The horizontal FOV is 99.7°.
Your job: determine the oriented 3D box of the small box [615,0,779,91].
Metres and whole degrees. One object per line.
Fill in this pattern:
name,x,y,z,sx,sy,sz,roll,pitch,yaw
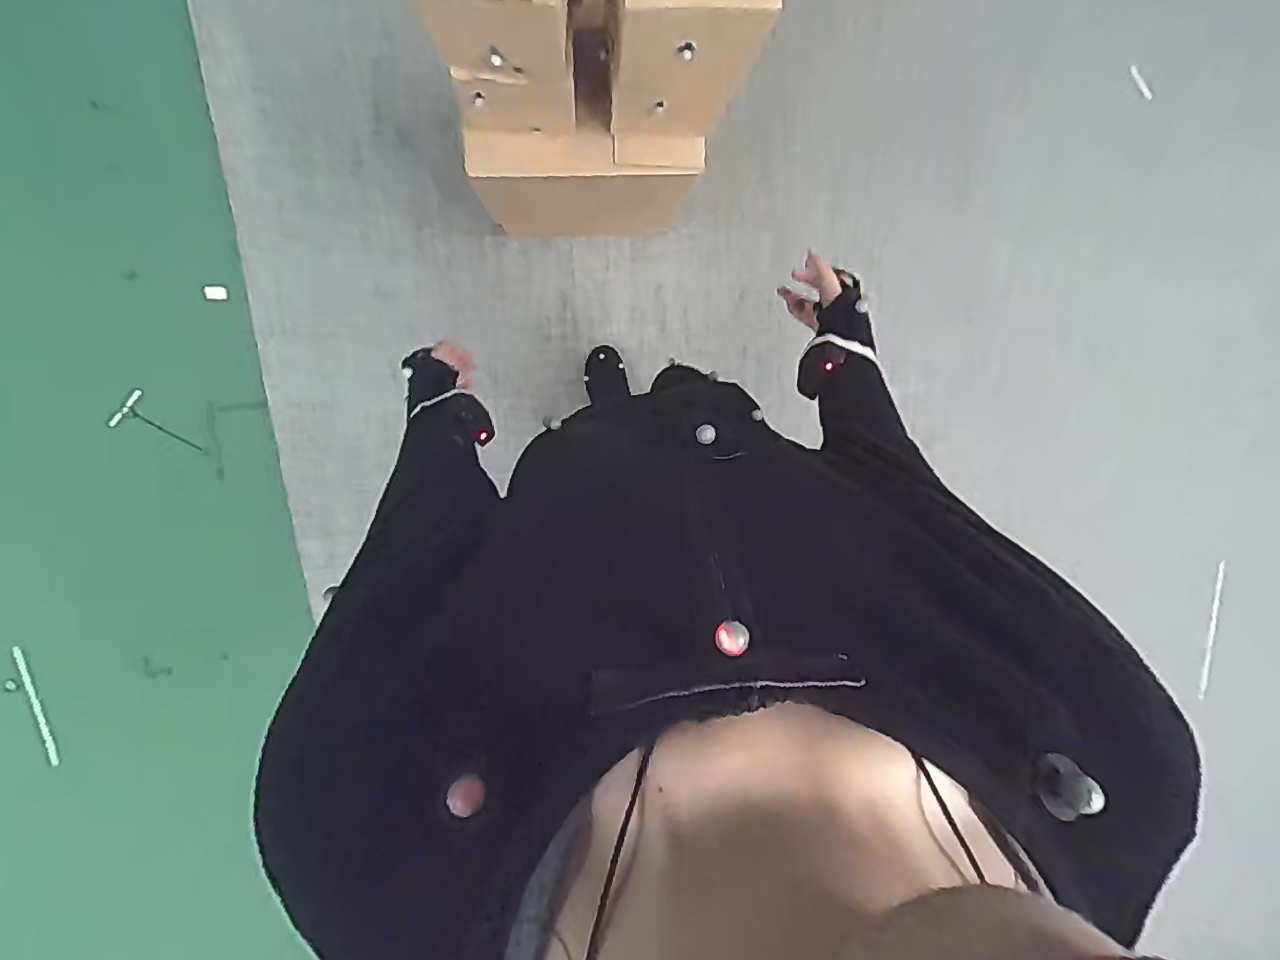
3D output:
small box,0.060,-0.604,0.656,0.179,0.176,0.168,-3,102,-3
